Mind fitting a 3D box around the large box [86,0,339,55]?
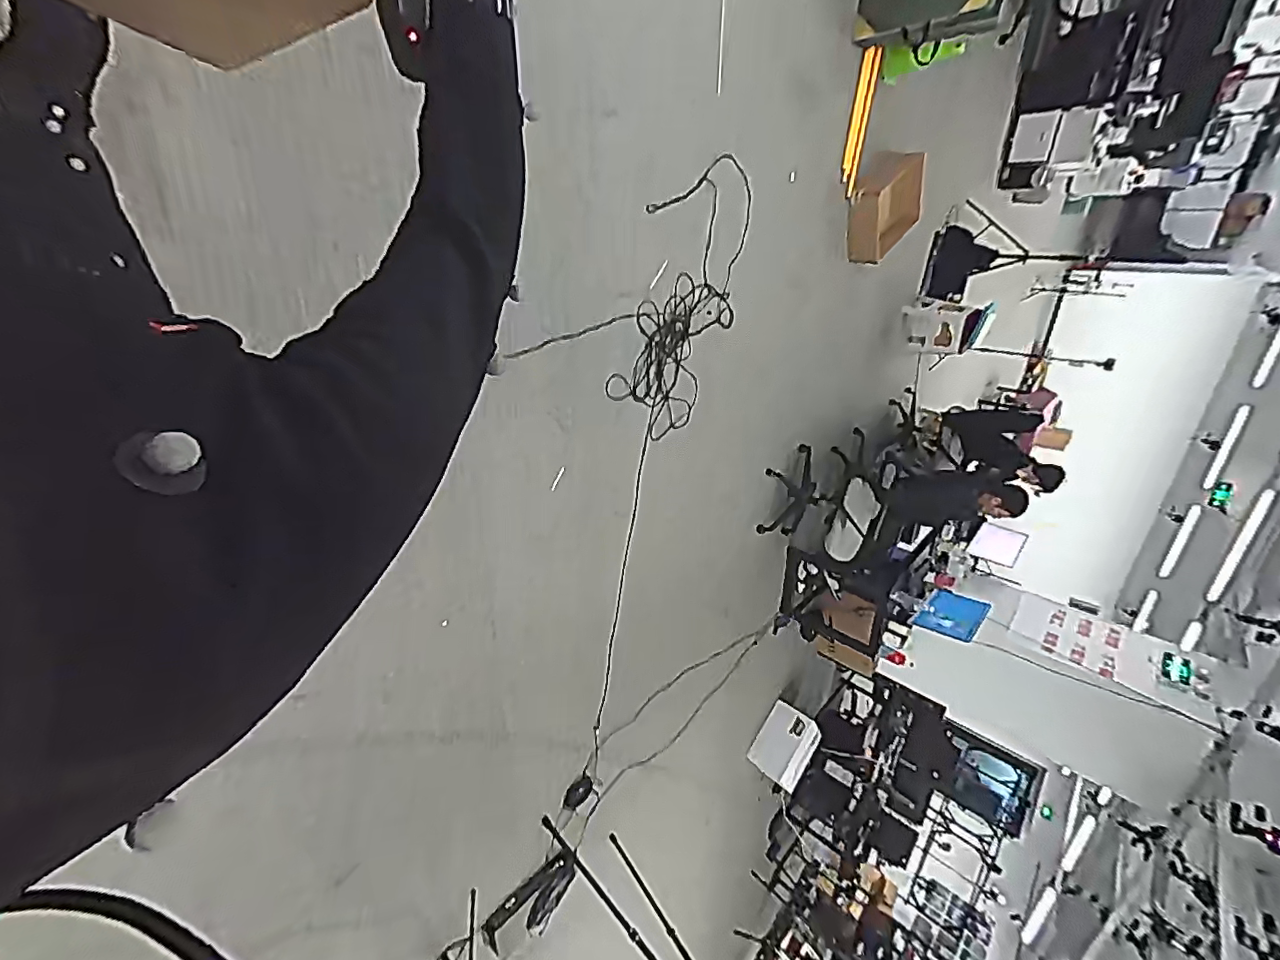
[{"bbox_3d":[-0.406,-0.518,0.282,0.408,0.320,0.320,-4,109,-52],"label":"large box"}]
